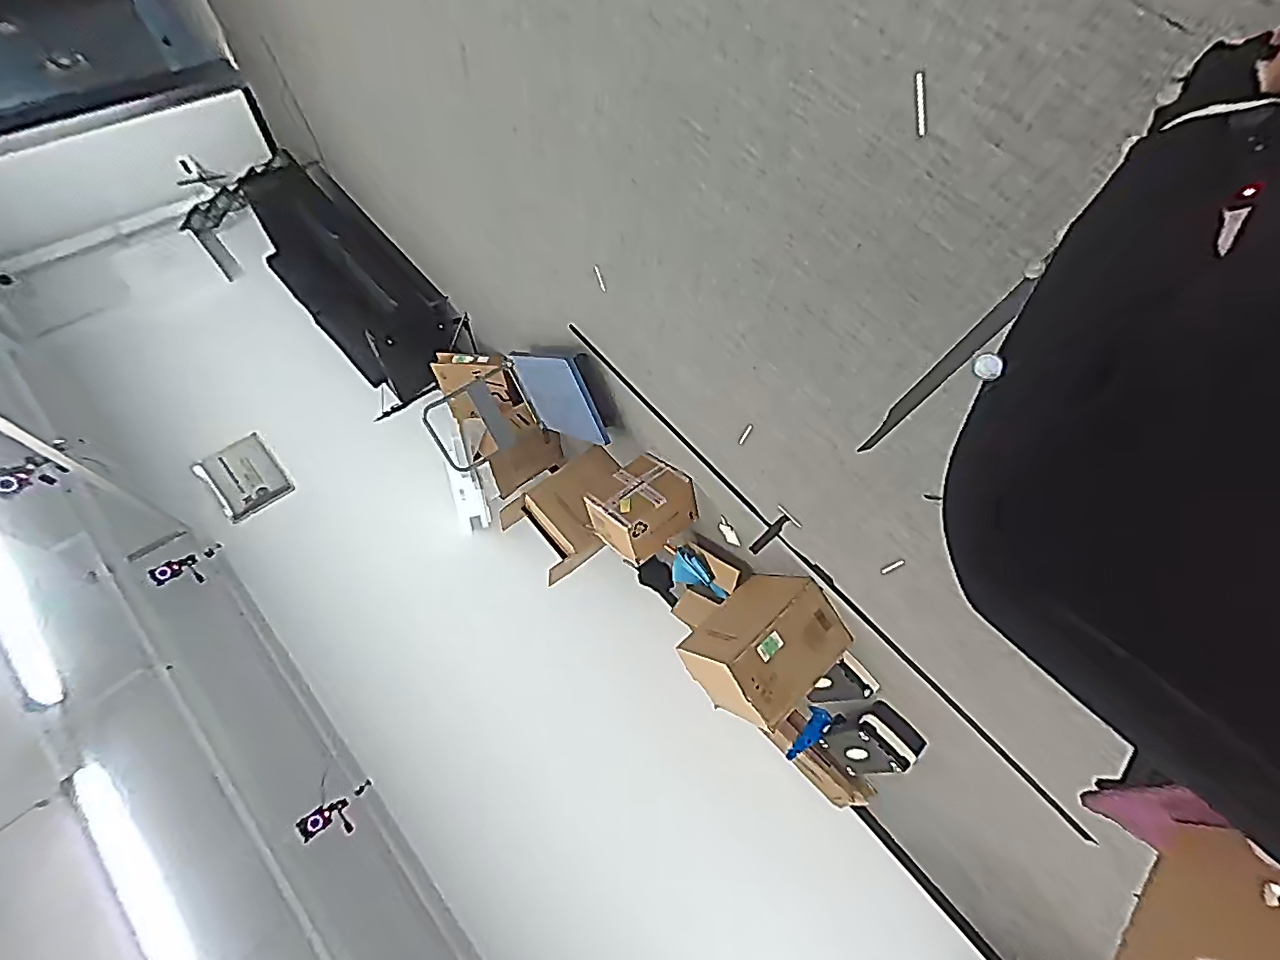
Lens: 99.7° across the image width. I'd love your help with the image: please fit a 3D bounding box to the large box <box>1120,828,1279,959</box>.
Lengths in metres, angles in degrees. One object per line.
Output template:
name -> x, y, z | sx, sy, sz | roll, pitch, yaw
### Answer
large box -> 0.862, 0.676, 0.587 | 0.408, 0.320, 0.320 | 45, 157, 15
